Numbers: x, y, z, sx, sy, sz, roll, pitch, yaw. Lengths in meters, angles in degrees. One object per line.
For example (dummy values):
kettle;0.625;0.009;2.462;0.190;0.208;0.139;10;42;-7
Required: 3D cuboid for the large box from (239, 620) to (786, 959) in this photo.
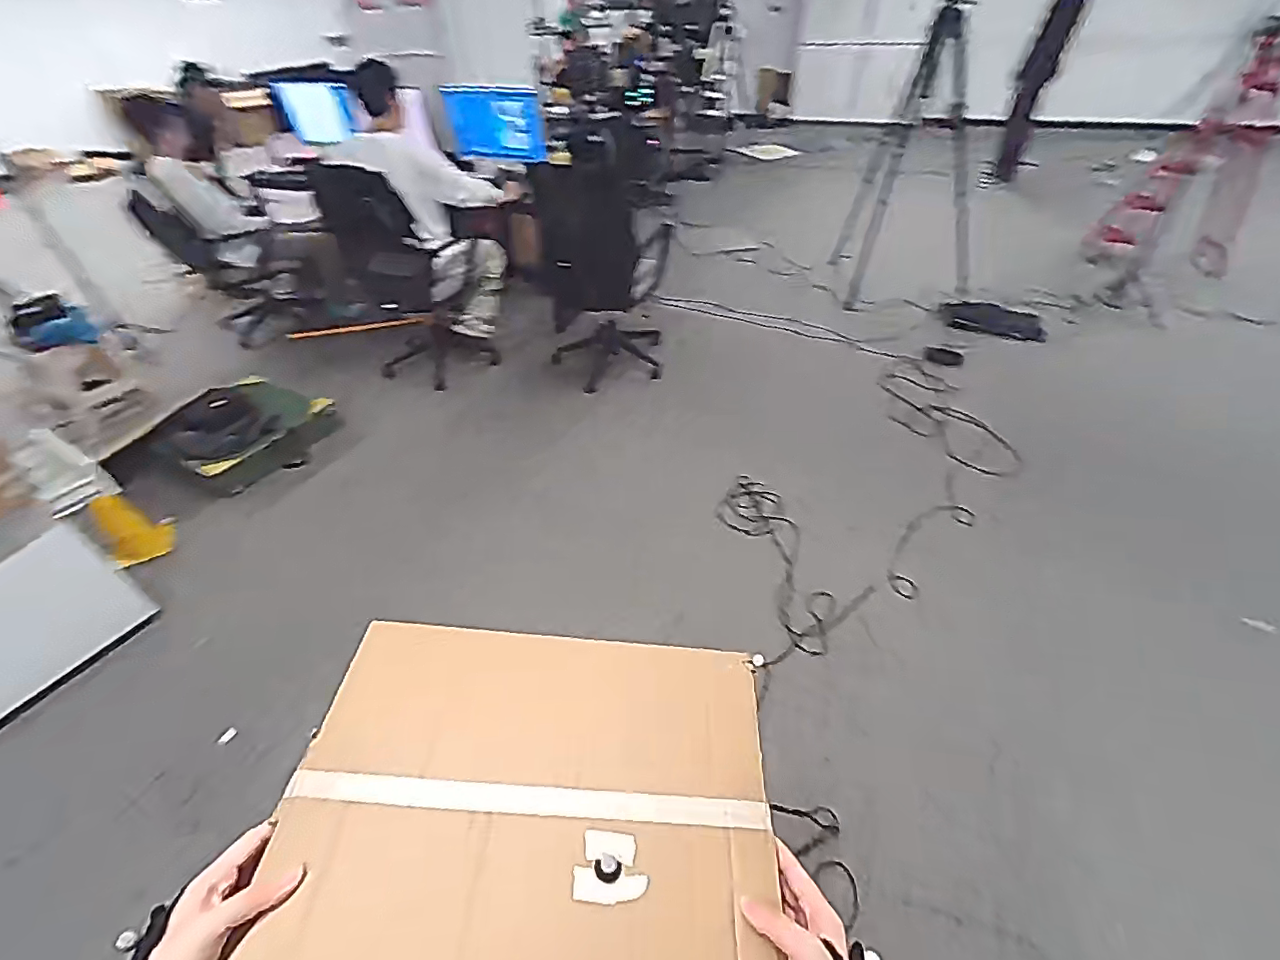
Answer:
large box;-0.097;0.383;0.578;0.408;0.320;0.320;7;44;-2
